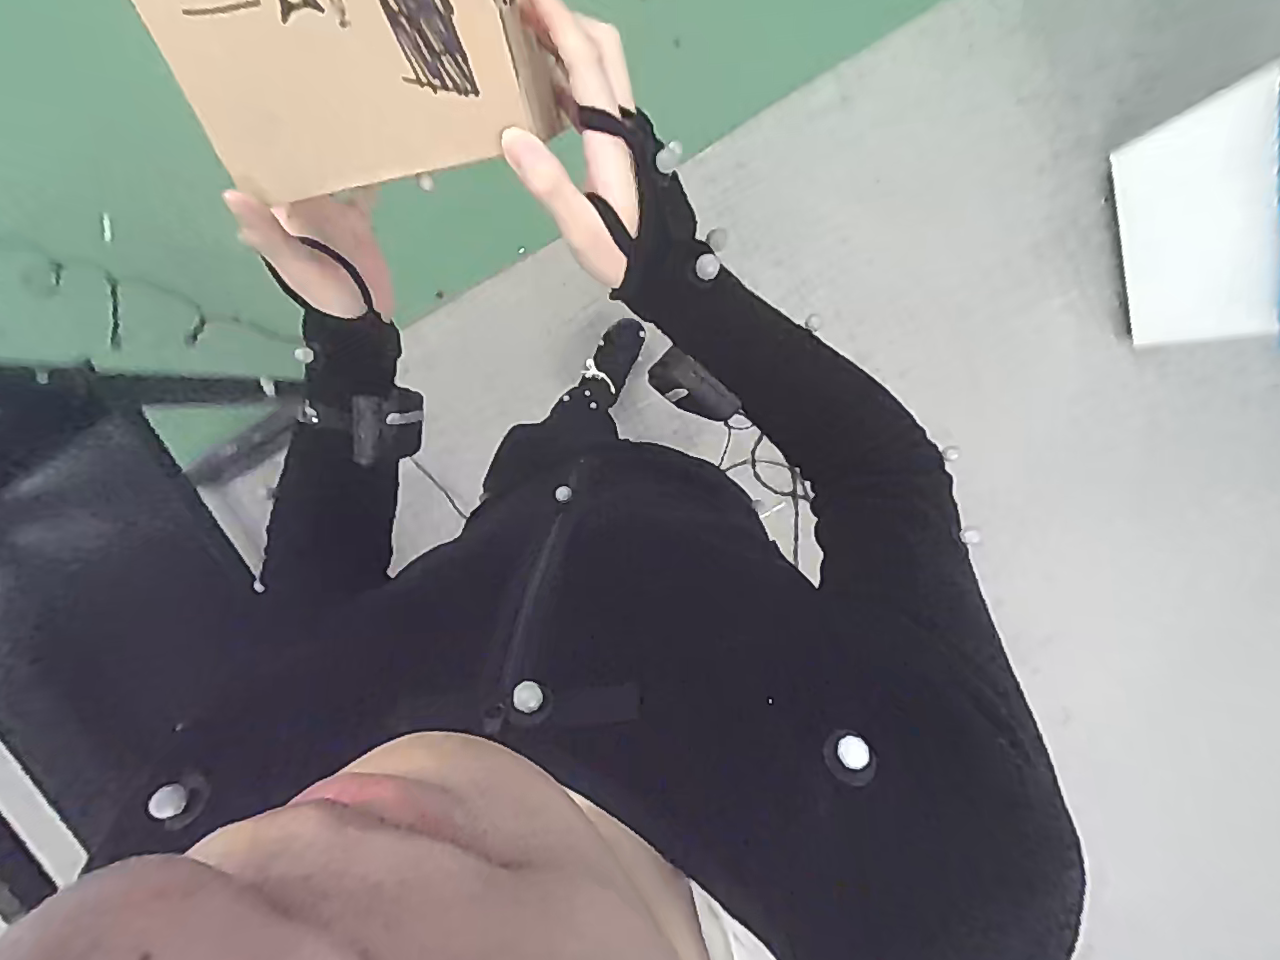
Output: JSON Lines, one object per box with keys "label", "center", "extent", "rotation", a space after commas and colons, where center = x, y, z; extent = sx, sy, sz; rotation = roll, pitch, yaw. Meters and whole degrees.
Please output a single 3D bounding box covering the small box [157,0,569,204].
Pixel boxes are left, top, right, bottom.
{"label": "small box", "center": [-0.146, -0.283, 0.324], "extent": [0.179, 0.176, 0.168], "rotation": [-7, 126, 7]}
